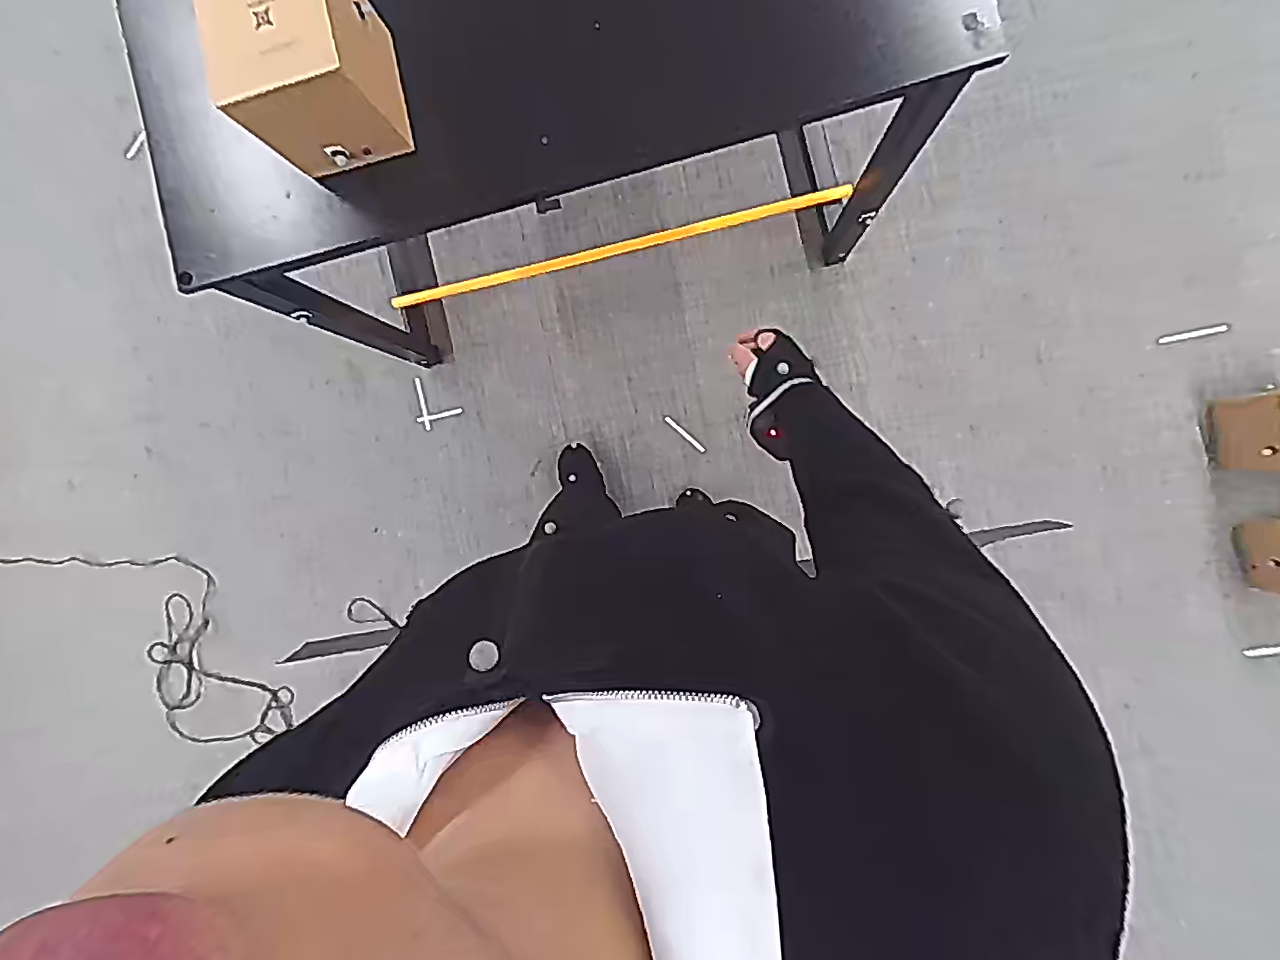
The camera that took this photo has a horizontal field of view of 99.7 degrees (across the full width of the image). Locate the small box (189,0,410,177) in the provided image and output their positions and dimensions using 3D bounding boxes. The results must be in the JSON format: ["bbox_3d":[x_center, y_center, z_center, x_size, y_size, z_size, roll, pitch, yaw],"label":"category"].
[{"bbox_3d":[-0.428,-0.537,0.700,0.168,0.176,0.179,-12,90,7],"label":"small box"}]

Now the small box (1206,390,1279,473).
[{"bbox_3d":[1.476,-0.116,1.242,0.168,0.176,0.179,-11,90,6],"label":"small box"}]

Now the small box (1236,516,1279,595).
[{"bbox_3d":[1.546,0.174,1.245,0.179,0.176,0.168,-14,90,7],"label":"small box"}]
